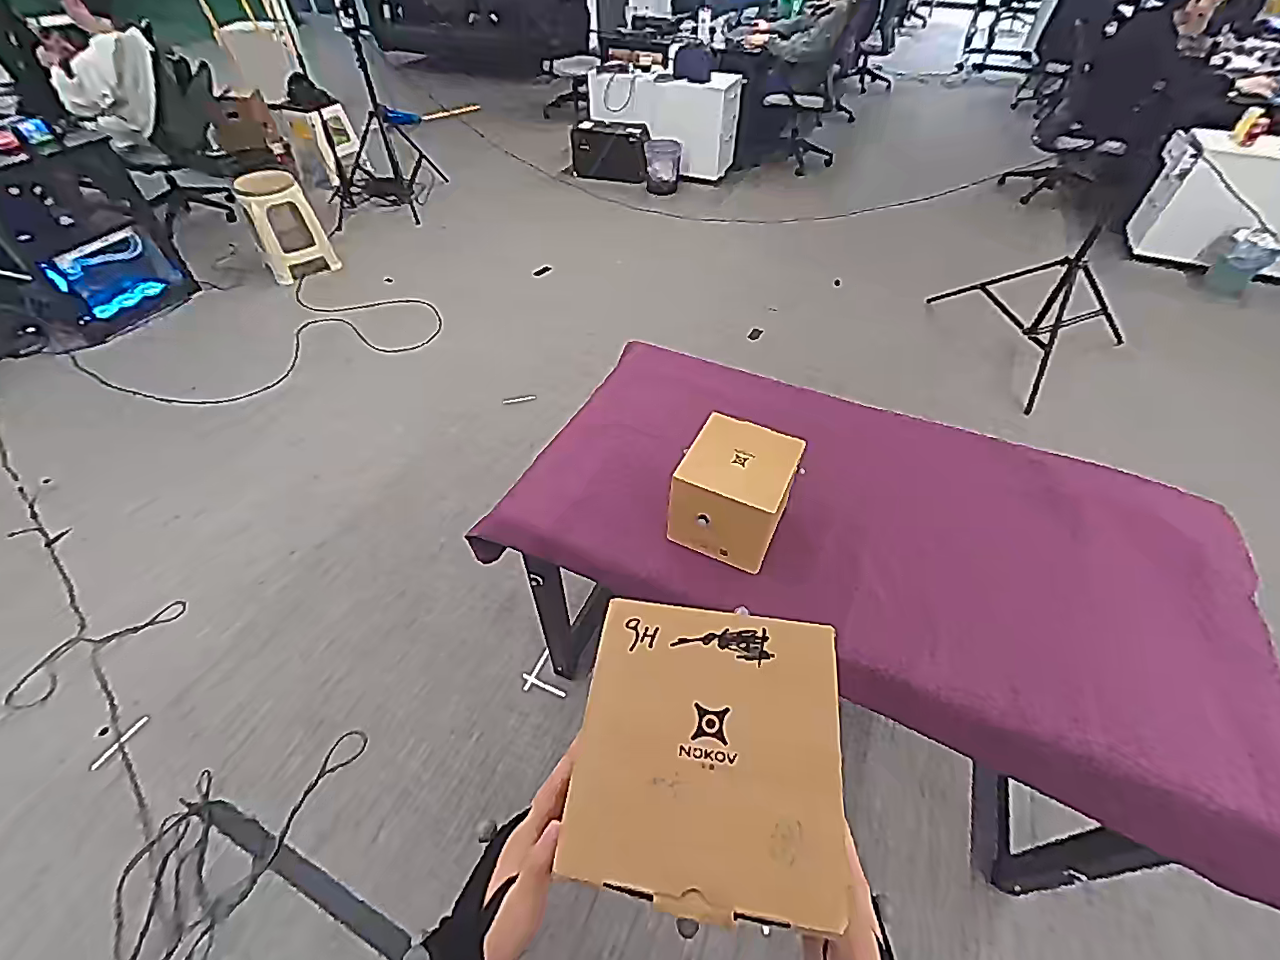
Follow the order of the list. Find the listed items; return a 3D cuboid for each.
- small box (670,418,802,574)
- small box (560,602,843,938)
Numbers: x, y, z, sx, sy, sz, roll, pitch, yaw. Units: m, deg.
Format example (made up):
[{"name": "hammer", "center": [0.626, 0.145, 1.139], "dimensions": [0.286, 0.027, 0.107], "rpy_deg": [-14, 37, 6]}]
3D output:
[{"name": "small box", "center": [0.158, 0.029, 0.920], "dimensions": [0.168, 0.176, 0.179], "rpy_deg": [20, 49, 17]}, {"name": "small box", "center": [0.051, 0.217, 0.416], "dimensions": [0.168, 0.176, 0.179], "rpy_deg": [5, 54, 8]}]
